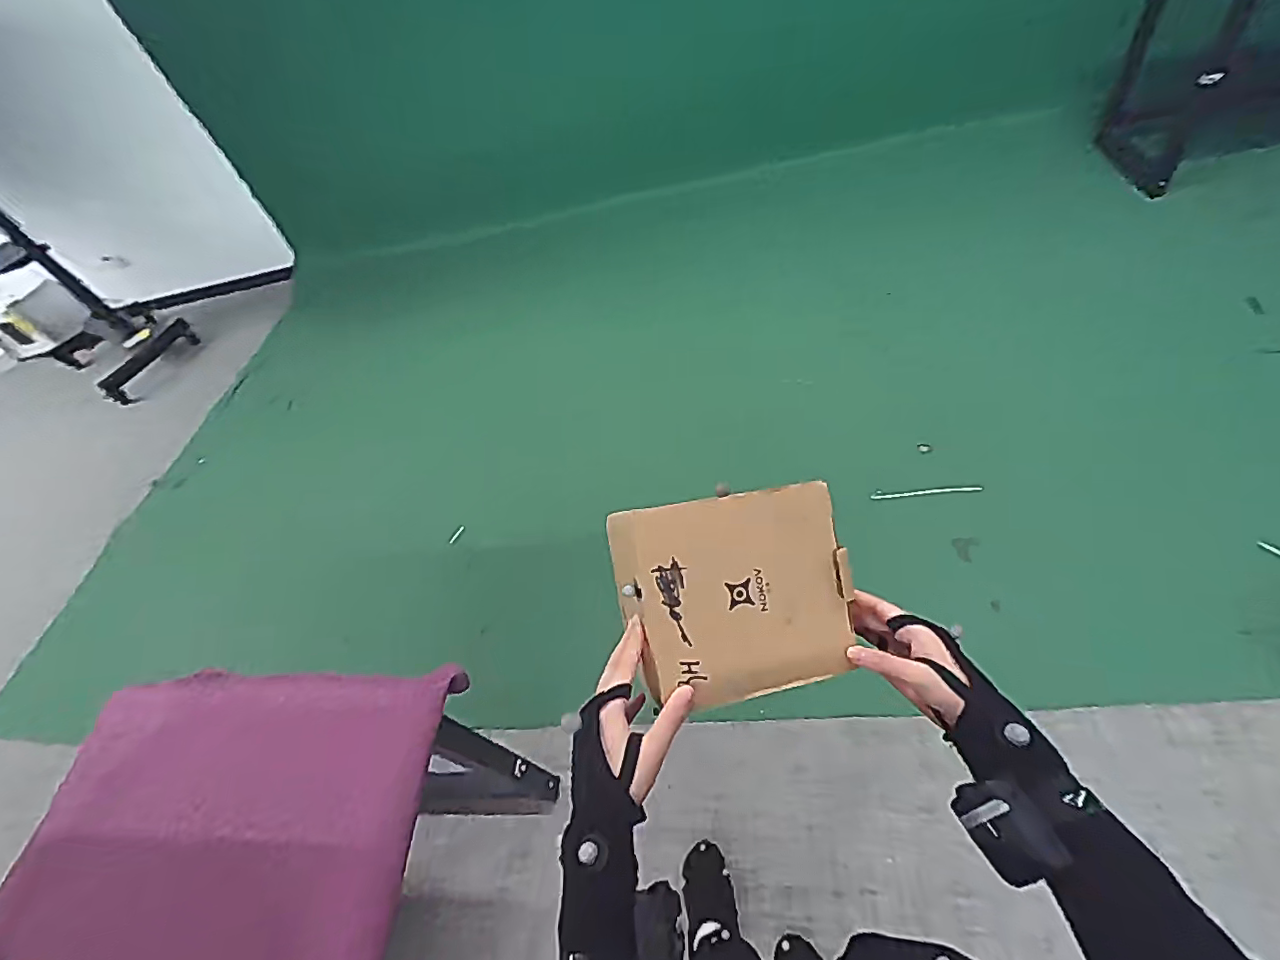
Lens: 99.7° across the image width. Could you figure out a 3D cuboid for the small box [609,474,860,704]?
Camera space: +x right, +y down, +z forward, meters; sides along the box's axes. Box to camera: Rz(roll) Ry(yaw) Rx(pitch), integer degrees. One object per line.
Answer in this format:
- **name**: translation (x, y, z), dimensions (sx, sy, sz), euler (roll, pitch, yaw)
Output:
- **small box**: translation (0.076, 0.091, 0.522), dimensions (0.179, 0.176, 0.168), euler (-8, 86, -11)
